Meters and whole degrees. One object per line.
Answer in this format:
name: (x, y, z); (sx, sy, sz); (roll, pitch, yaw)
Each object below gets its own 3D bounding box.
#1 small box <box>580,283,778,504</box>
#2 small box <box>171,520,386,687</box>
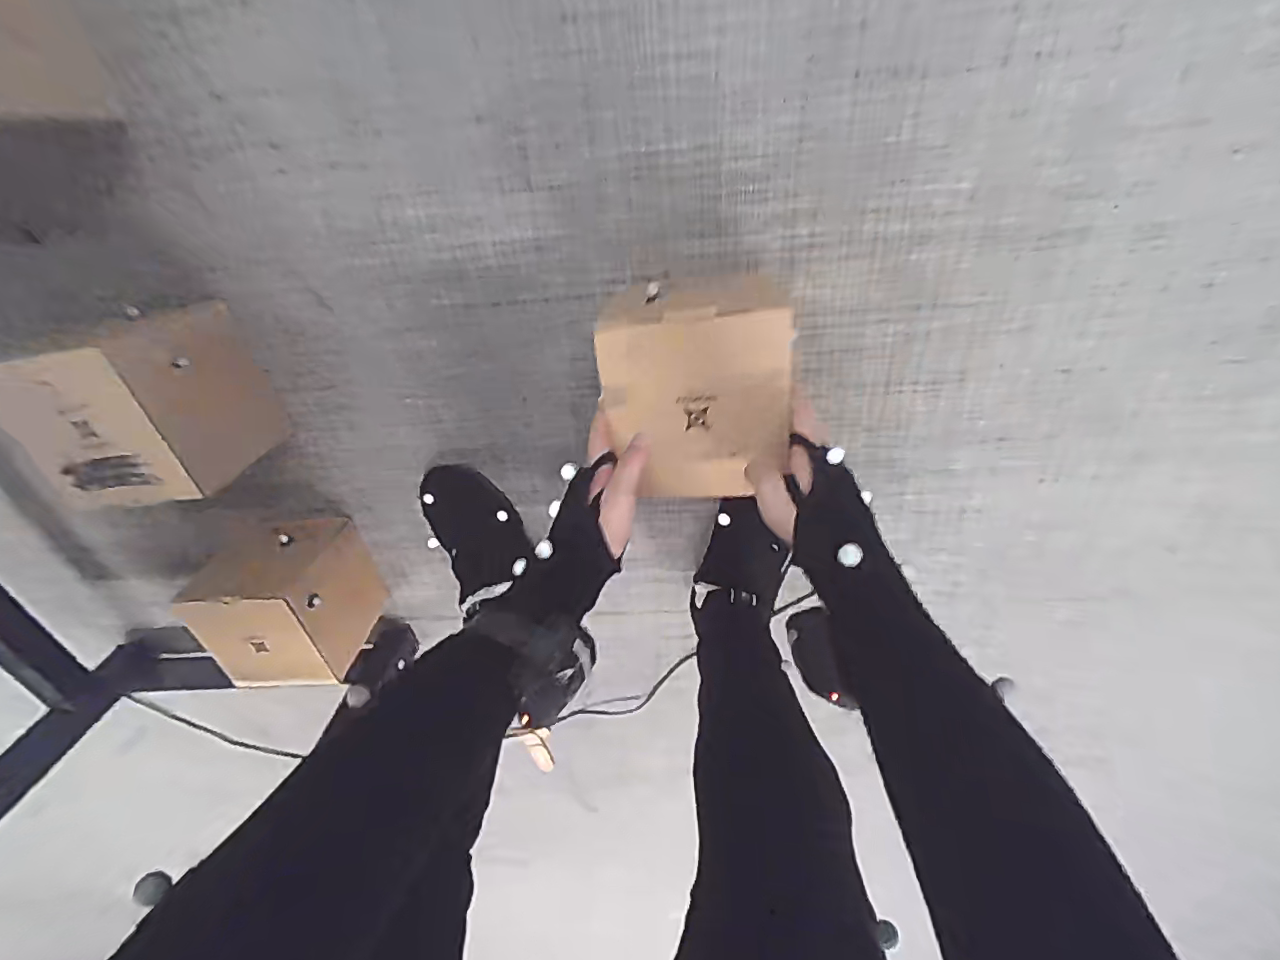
small box: (0.046, -0.095, 0.547); (0.168, 0.176, 0.179); (-3, 118, 9)
small box: (-0.510, 0.180, 0.799); (0.168, 0.176, 0.179); (-4, 122, 7)
